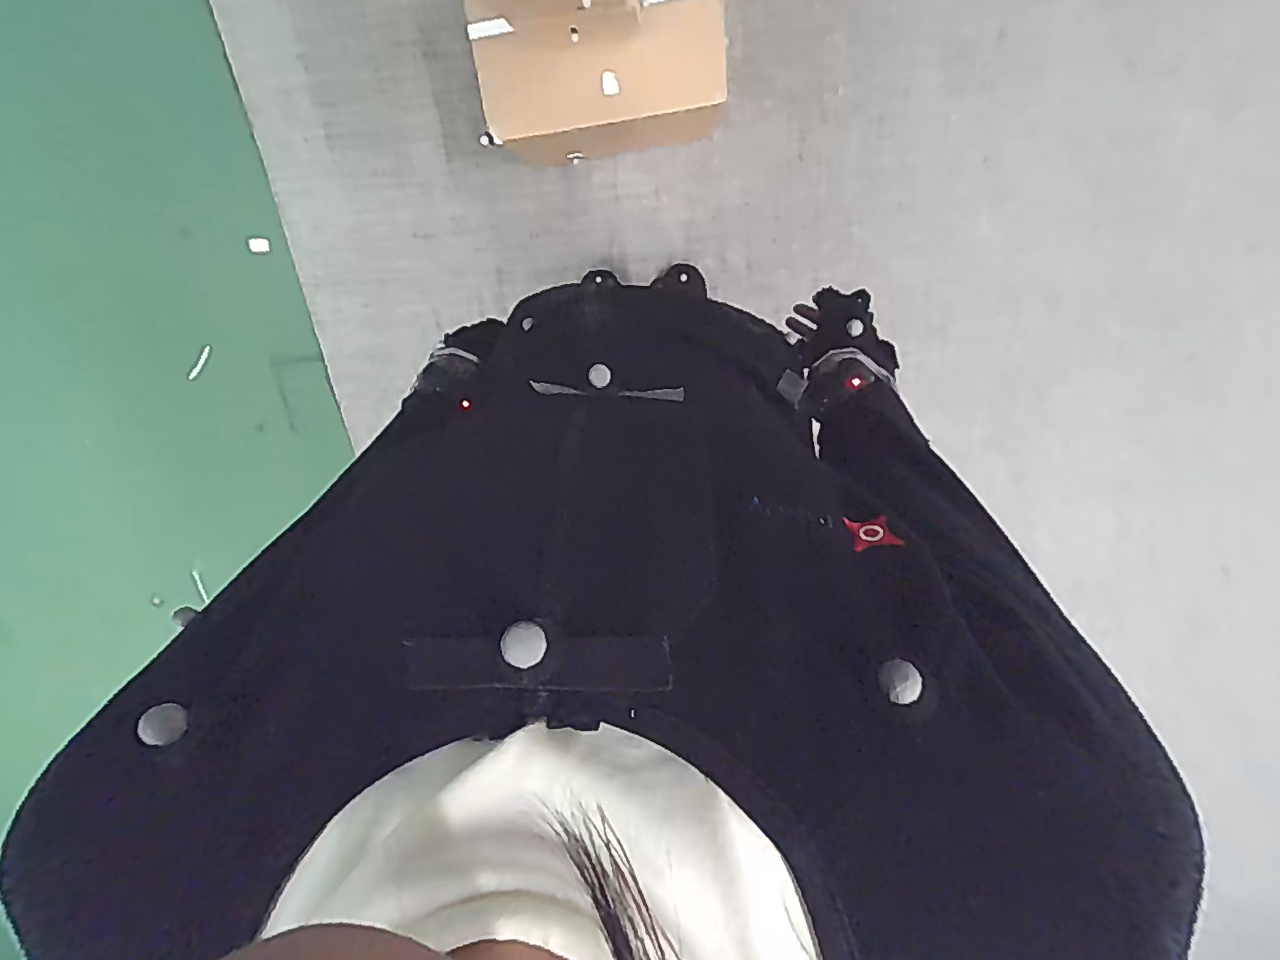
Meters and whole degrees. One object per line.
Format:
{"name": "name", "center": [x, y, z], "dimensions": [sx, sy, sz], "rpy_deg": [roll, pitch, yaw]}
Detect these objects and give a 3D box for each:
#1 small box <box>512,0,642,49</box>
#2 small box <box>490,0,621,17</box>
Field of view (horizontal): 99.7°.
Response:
{"name": "small box", "center": [-0.093, -0.730, 0.754], "dimensions": [0.179, 0.176, 0.168], "rpy_deg": [-6, 119, 6]}
{"name": "small box", "center": [-0.110, -0.657, 0.610], "dimensions": [0.168, 0.176, 0.179], "rpy_deg": [-4, 118, 5]}
